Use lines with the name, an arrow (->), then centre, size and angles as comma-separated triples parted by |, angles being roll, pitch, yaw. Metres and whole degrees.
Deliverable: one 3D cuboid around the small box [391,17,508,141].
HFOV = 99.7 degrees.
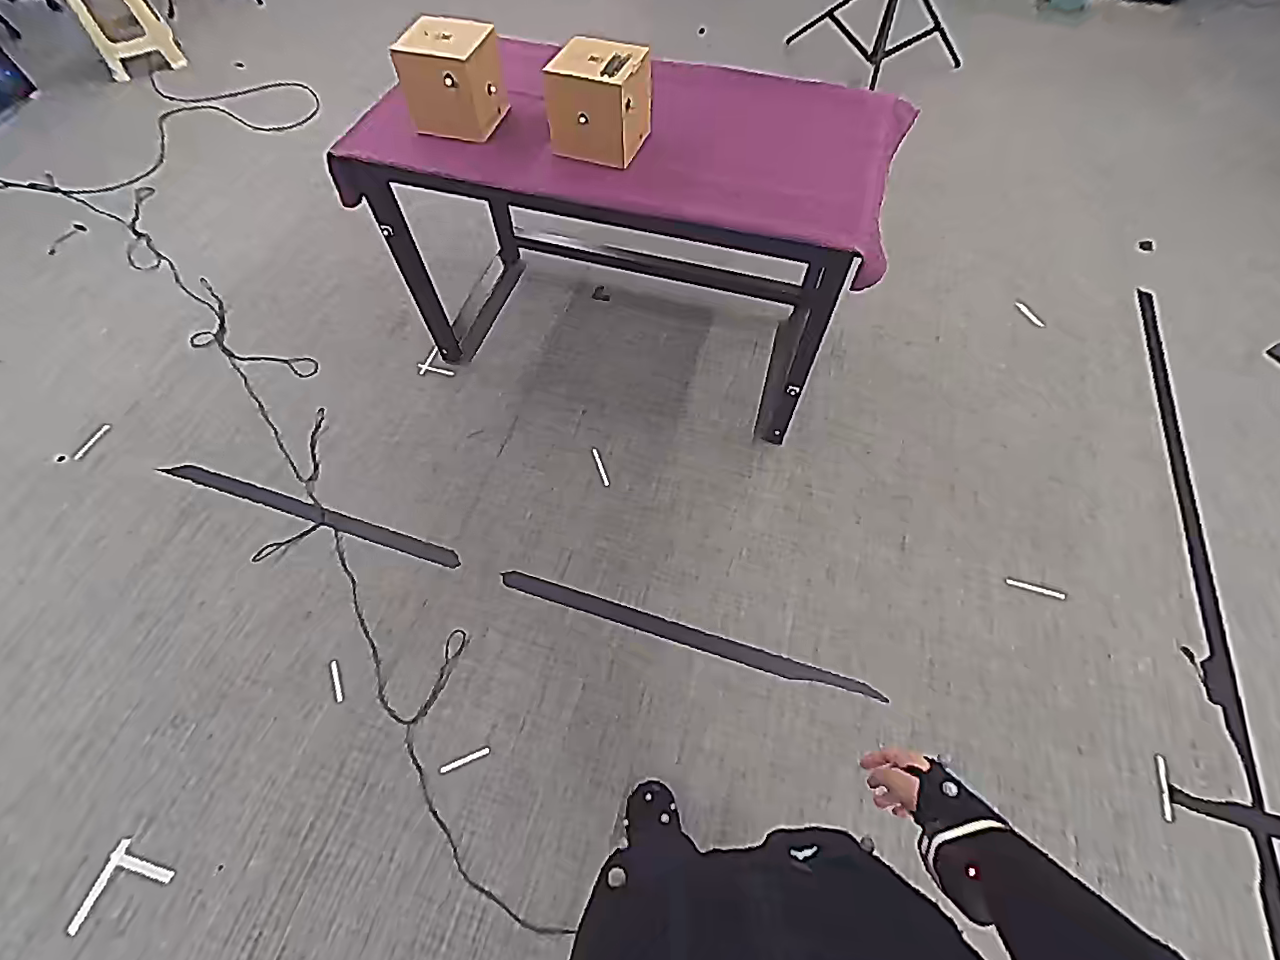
small box -> -0.416, -0.898, 1.220 | 0.179, 0.176, 0.168 | 13, 60, 7
